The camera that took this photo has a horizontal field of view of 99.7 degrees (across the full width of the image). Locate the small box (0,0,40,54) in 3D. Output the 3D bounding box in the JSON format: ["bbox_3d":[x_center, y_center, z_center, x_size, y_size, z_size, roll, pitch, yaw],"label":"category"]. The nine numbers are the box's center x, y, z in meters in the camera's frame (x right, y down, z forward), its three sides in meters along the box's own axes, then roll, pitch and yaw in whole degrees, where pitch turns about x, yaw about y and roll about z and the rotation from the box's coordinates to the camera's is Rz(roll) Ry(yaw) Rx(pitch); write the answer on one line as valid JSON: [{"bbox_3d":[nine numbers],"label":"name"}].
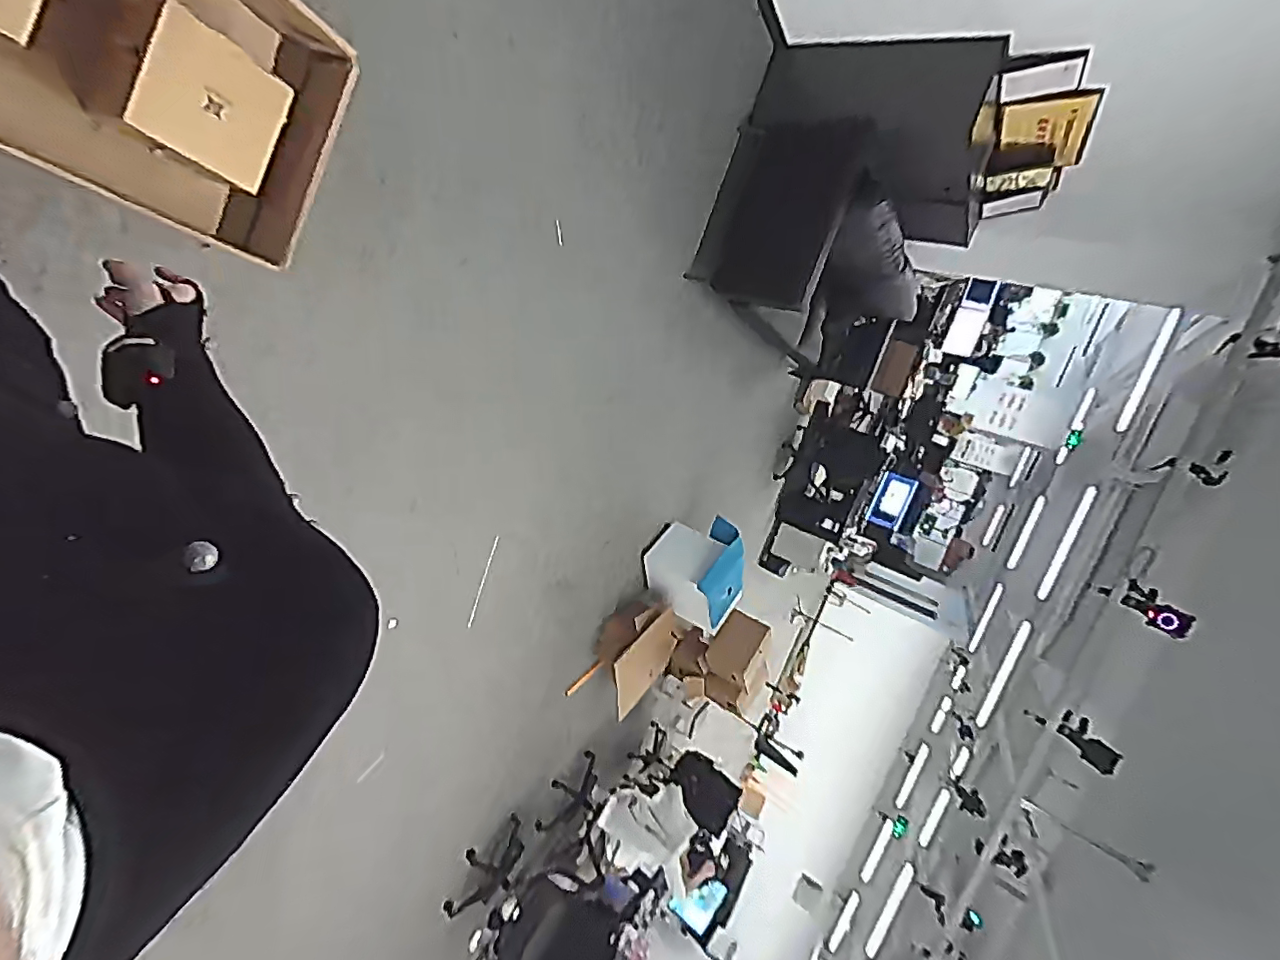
[{"bbox_3d":[-0.681,-0.540,0.501,0.168,0.176,0.179,19,94,-61],"label":"small box"}]
